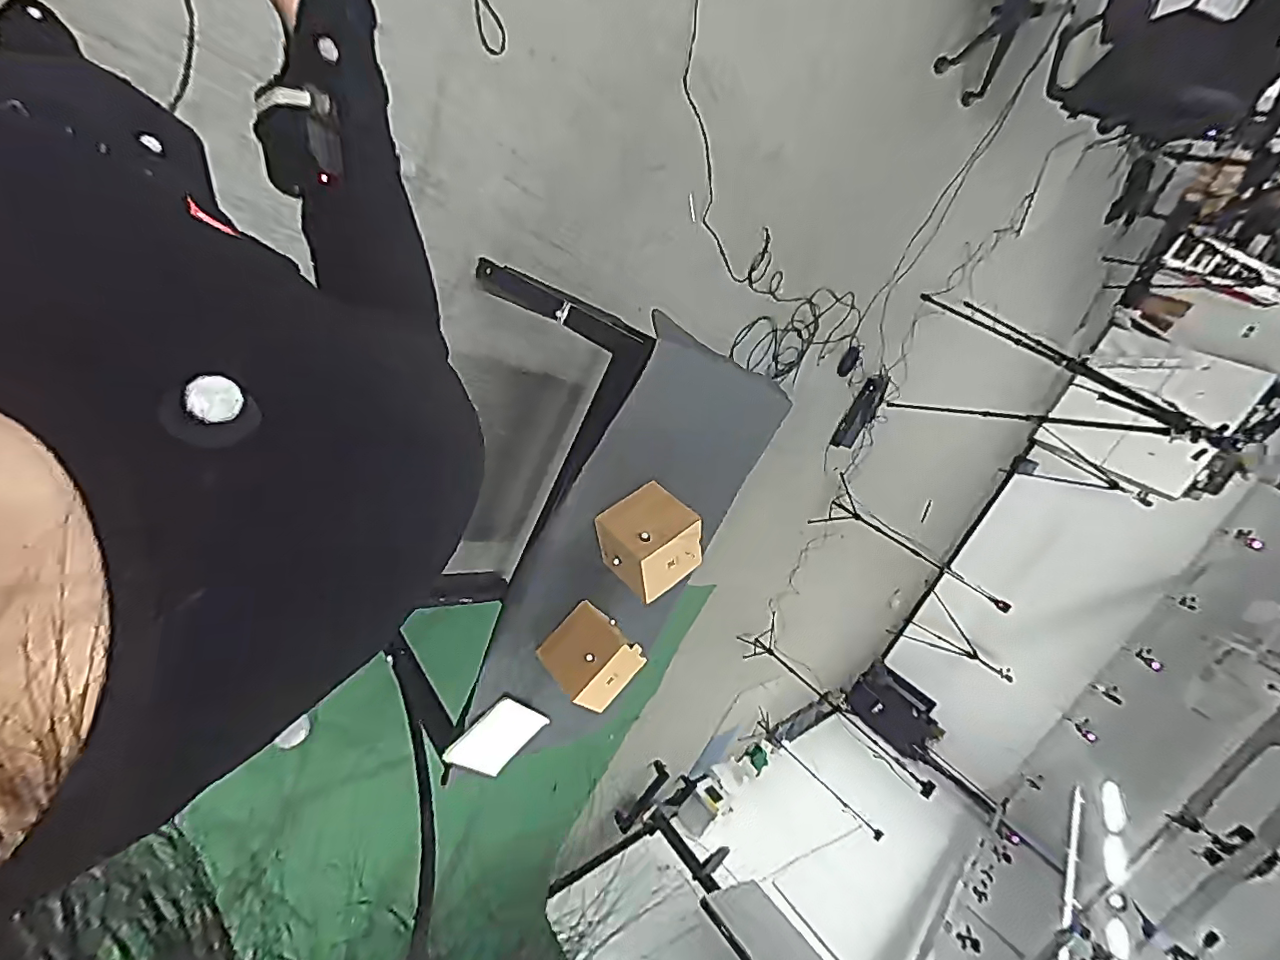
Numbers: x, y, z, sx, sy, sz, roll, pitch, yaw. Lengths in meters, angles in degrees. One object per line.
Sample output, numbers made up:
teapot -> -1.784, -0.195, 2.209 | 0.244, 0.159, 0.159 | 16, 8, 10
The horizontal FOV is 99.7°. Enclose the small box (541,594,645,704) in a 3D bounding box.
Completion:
small box -> -0.123, 0.420, 1.346 | 0.179, 0.176, 0.168 | -47, 144, -9

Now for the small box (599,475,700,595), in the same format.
small box -> 0.018, 0.122, 1.246 | 0.179, 0.176, 0.168 | -33, 141, -24
